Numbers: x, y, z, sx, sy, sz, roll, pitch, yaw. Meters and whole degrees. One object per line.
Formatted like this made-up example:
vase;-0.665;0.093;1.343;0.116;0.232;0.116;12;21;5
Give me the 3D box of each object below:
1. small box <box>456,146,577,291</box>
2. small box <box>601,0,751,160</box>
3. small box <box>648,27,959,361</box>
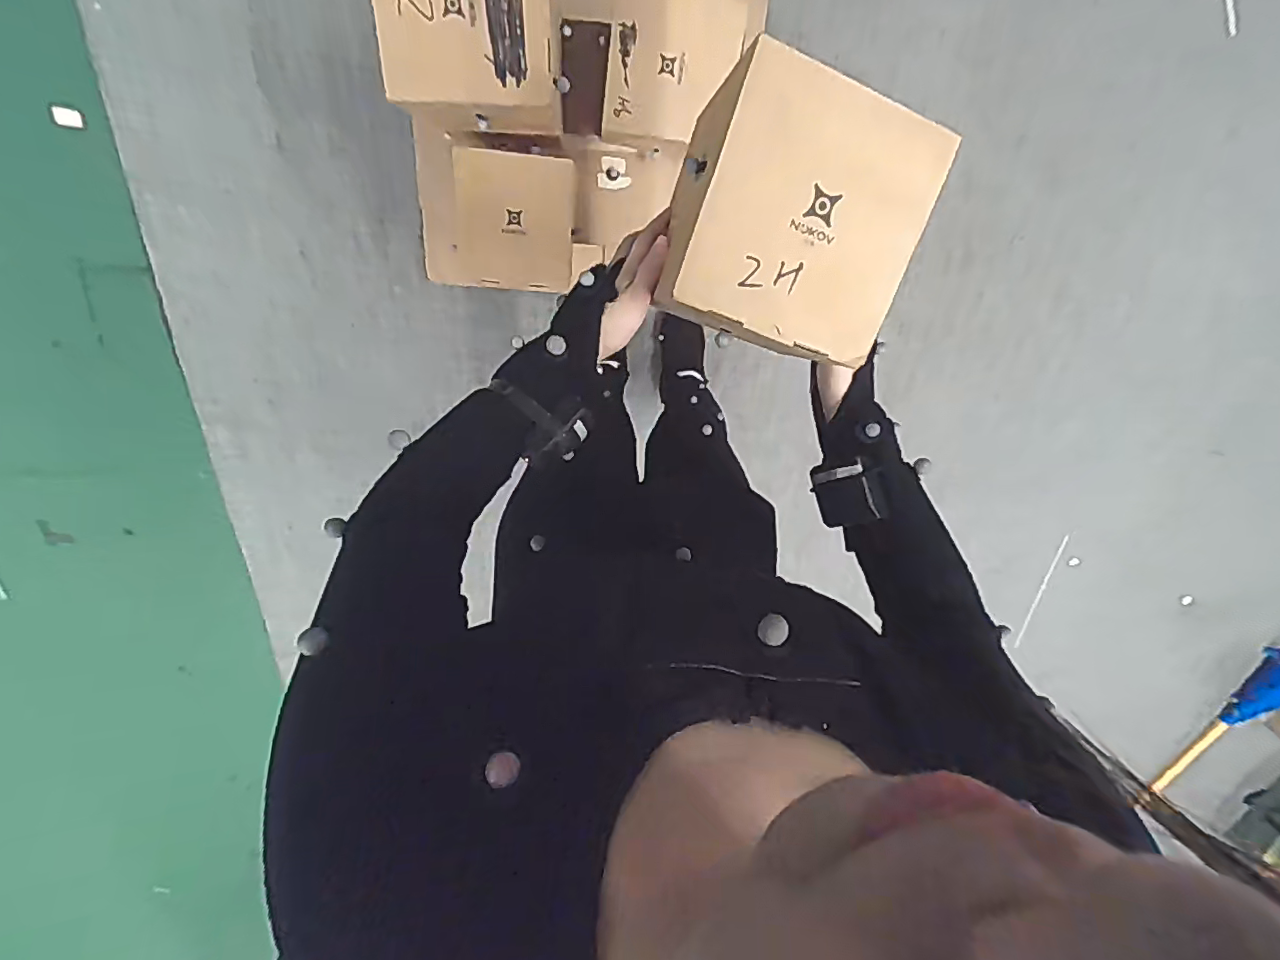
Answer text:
small box;-0.187;-0.405;0.845;0.168;0.176;0.179;3;118;-8
small box;0.039;-0.573;0.782;0.179;0.176;0.168;7;116;-7
small box;0.115;-0.218;0.464;0.168;0.176;0.179;16;104;-13
